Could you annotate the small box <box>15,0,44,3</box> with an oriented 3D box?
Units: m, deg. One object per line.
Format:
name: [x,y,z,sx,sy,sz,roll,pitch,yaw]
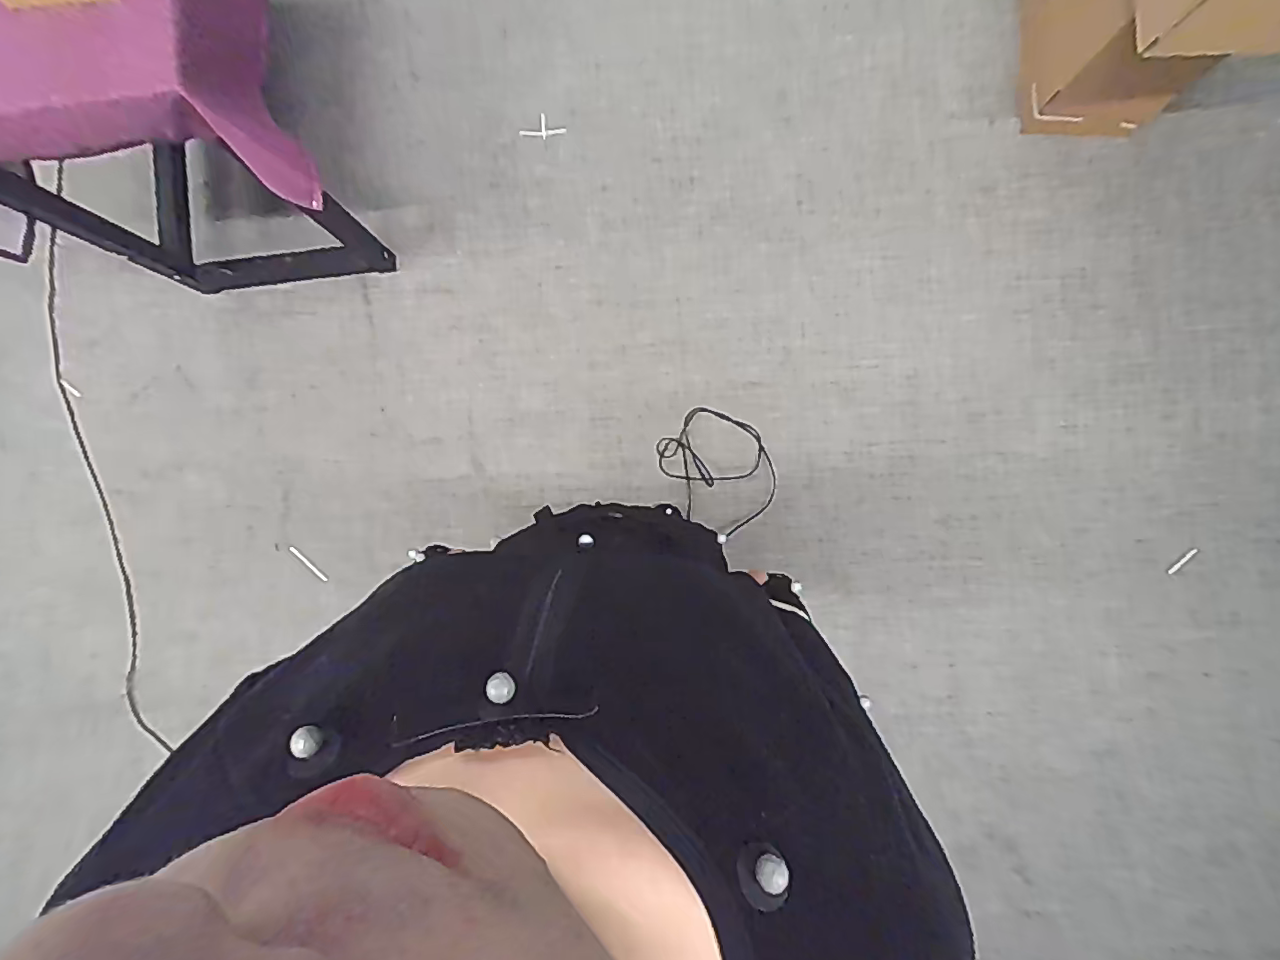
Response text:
small box: [-0.887,-0.820,0.753,0.179,0.176,0.168,-3,88,2]
